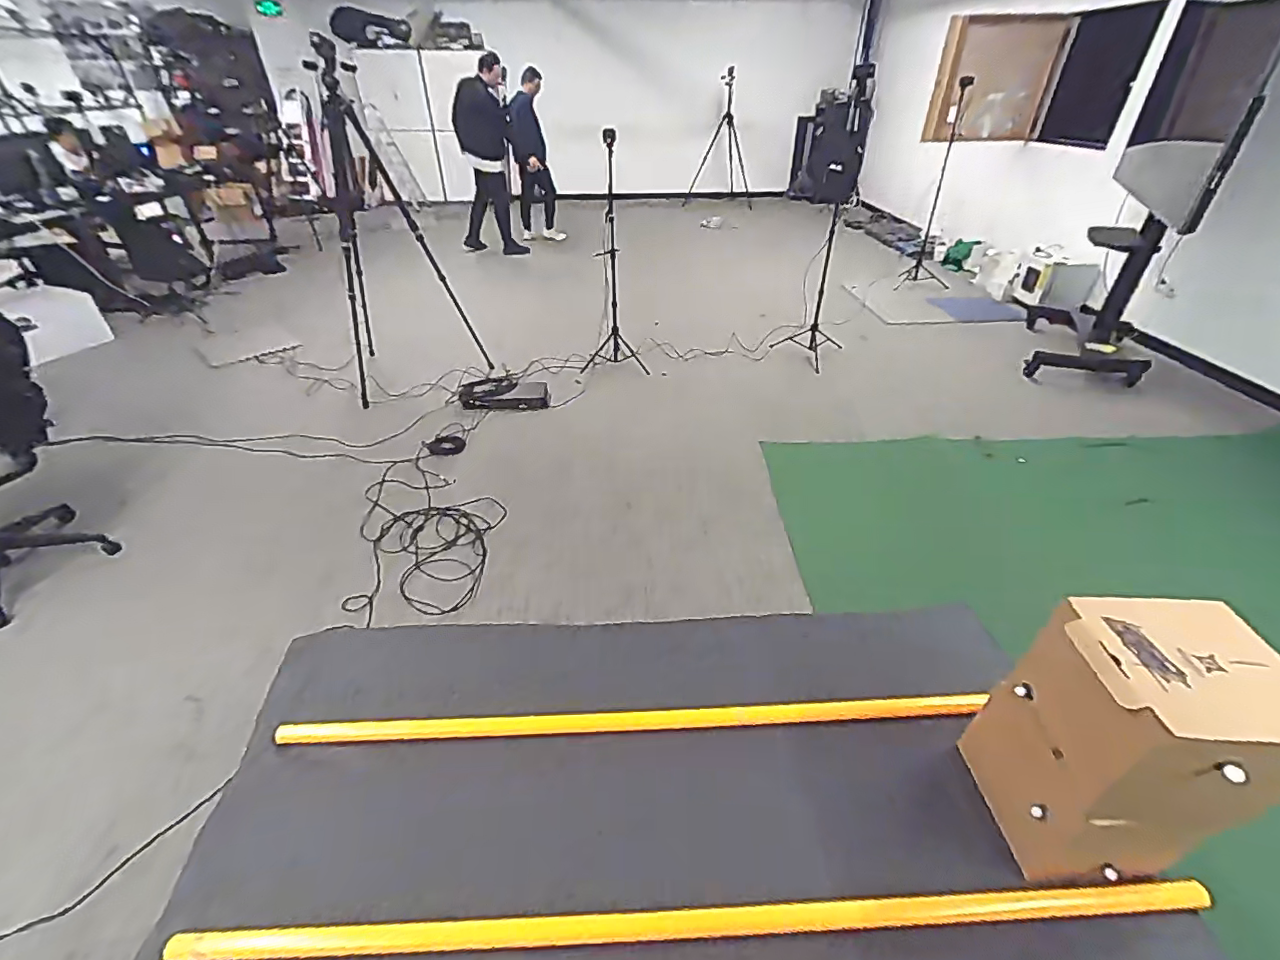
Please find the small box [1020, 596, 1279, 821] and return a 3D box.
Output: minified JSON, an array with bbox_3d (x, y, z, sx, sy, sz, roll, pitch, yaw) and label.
[{"bbox_3d":[0.555,0.245,0.585,0.179,0.176,0.168,2,37,2],"label":"small box"}]
